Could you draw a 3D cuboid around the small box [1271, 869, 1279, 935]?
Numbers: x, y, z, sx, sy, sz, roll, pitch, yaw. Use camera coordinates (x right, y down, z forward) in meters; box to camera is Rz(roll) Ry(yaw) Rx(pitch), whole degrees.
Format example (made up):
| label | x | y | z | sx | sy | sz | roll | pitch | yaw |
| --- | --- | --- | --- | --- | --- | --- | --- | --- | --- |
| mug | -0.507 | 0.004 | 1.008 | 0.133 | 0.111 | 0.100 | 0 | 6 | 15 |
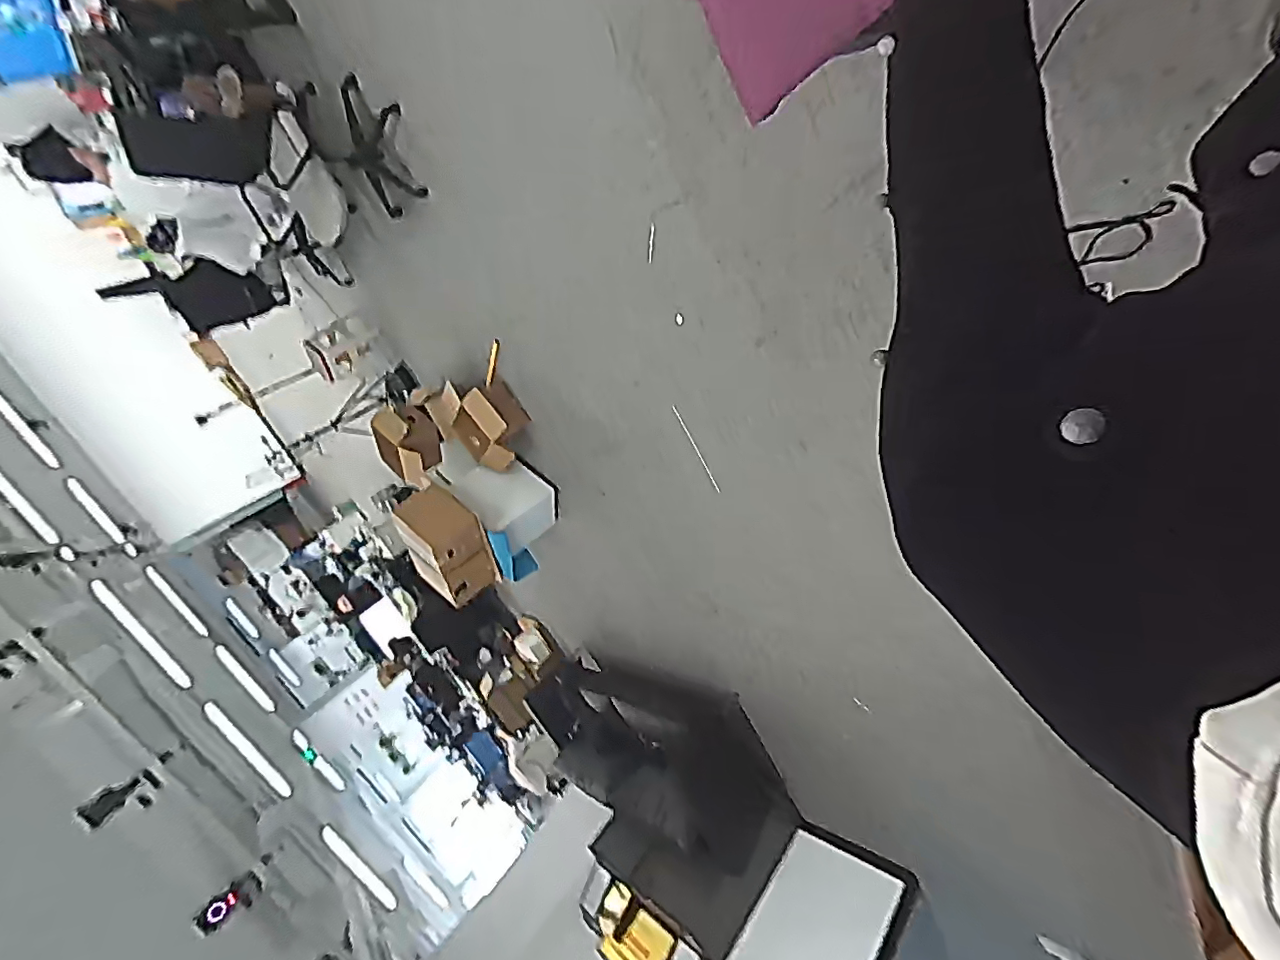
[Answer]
| label | x | y | z | sx | sy | sz | roll | pitch | yaw |
| --- | --- | --- | --- | --- | --- | --- | --- | --- | --- |
| small box | 1.575 | 1.051 | 1.234 | 0.168 | 0.176 | 0.179 | -6 | 117 | 51 |
